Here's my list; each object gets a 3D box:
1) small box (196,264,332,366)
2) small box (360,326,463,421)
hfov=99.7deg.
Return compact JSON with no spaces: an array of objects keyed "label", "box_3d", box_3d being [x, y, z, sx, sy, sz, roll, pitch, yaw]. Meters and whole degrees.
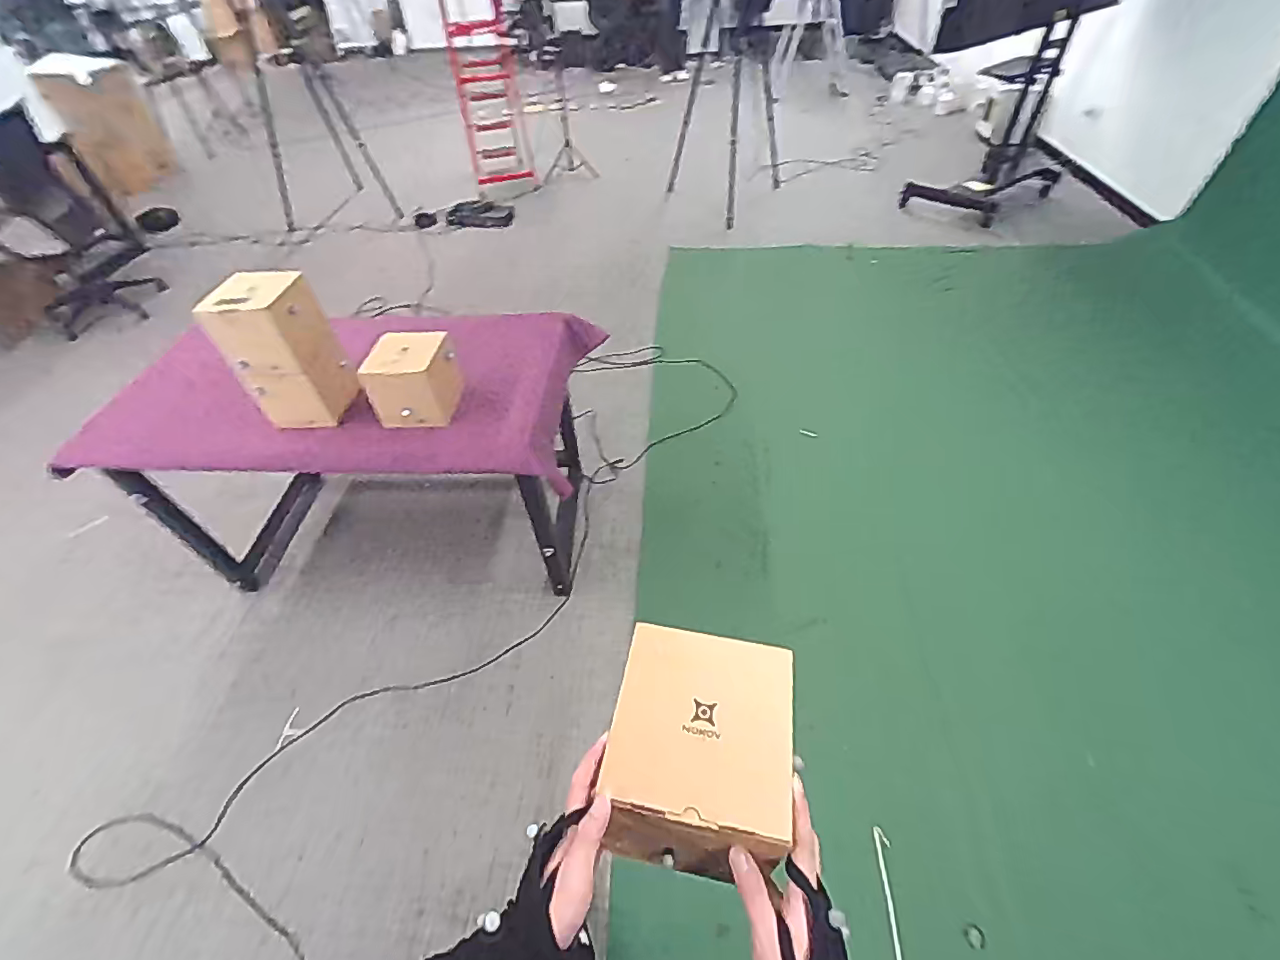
[{"label":"small box","box_3d":[-0.856,-0.380,1.255,0.168,0.176,0.179,0,47,4]},{"label":"small box","box_3d":[-0.559,-0.267,1.355,0.168,0.176,0.179,0,48,4]}]
